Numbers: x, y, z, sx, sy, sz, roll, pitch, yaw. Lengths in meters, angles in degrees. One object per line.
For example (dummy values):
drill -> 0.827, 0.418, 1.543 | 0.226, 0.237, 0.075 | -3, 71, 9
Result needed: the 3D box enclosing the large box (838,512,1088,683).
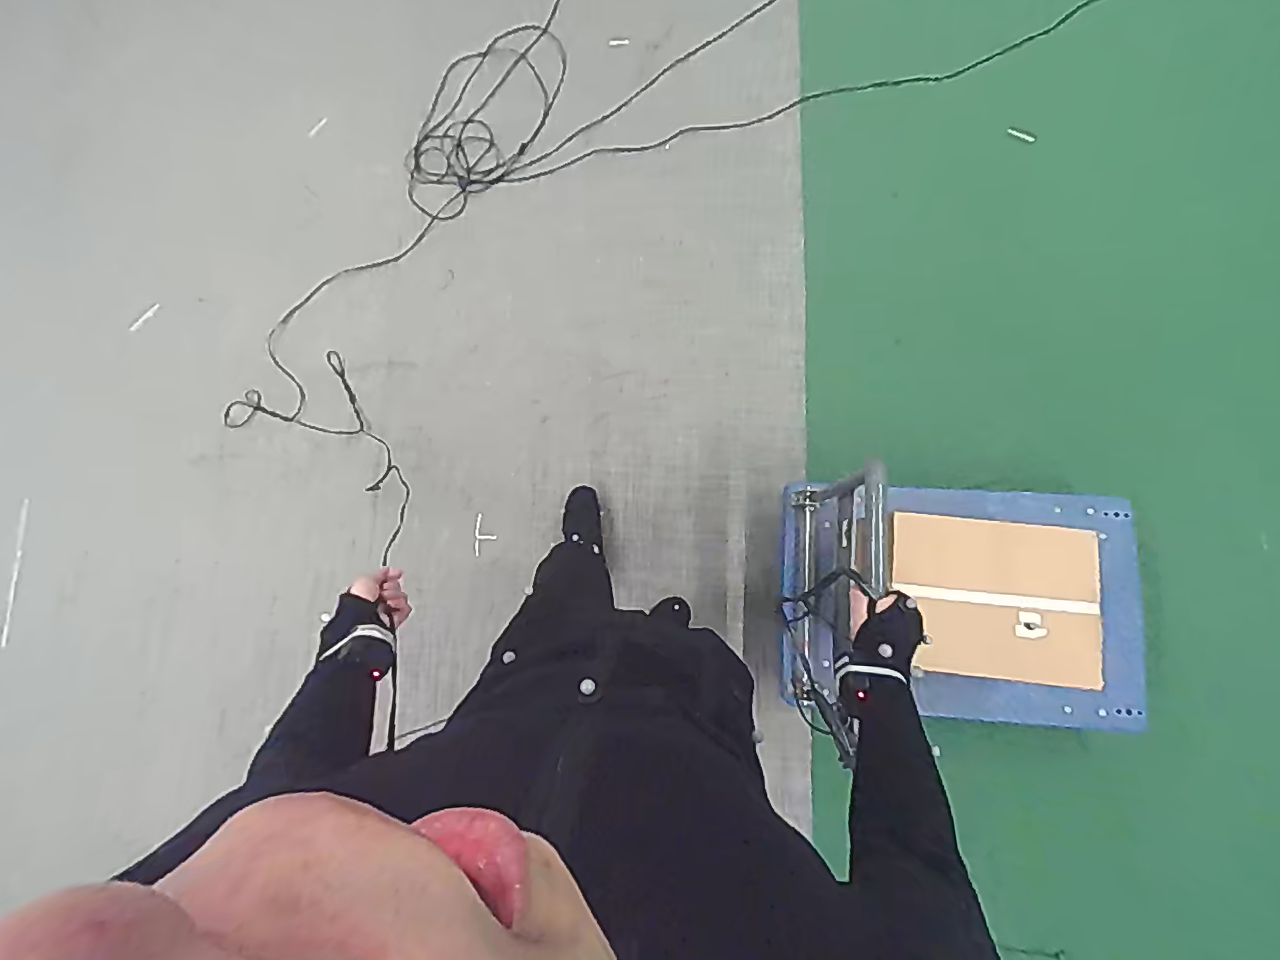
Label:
large box -> 0.703, 0.256, 1.240 | 0.408, 0.320, 0.320 | 6, 83, 3
